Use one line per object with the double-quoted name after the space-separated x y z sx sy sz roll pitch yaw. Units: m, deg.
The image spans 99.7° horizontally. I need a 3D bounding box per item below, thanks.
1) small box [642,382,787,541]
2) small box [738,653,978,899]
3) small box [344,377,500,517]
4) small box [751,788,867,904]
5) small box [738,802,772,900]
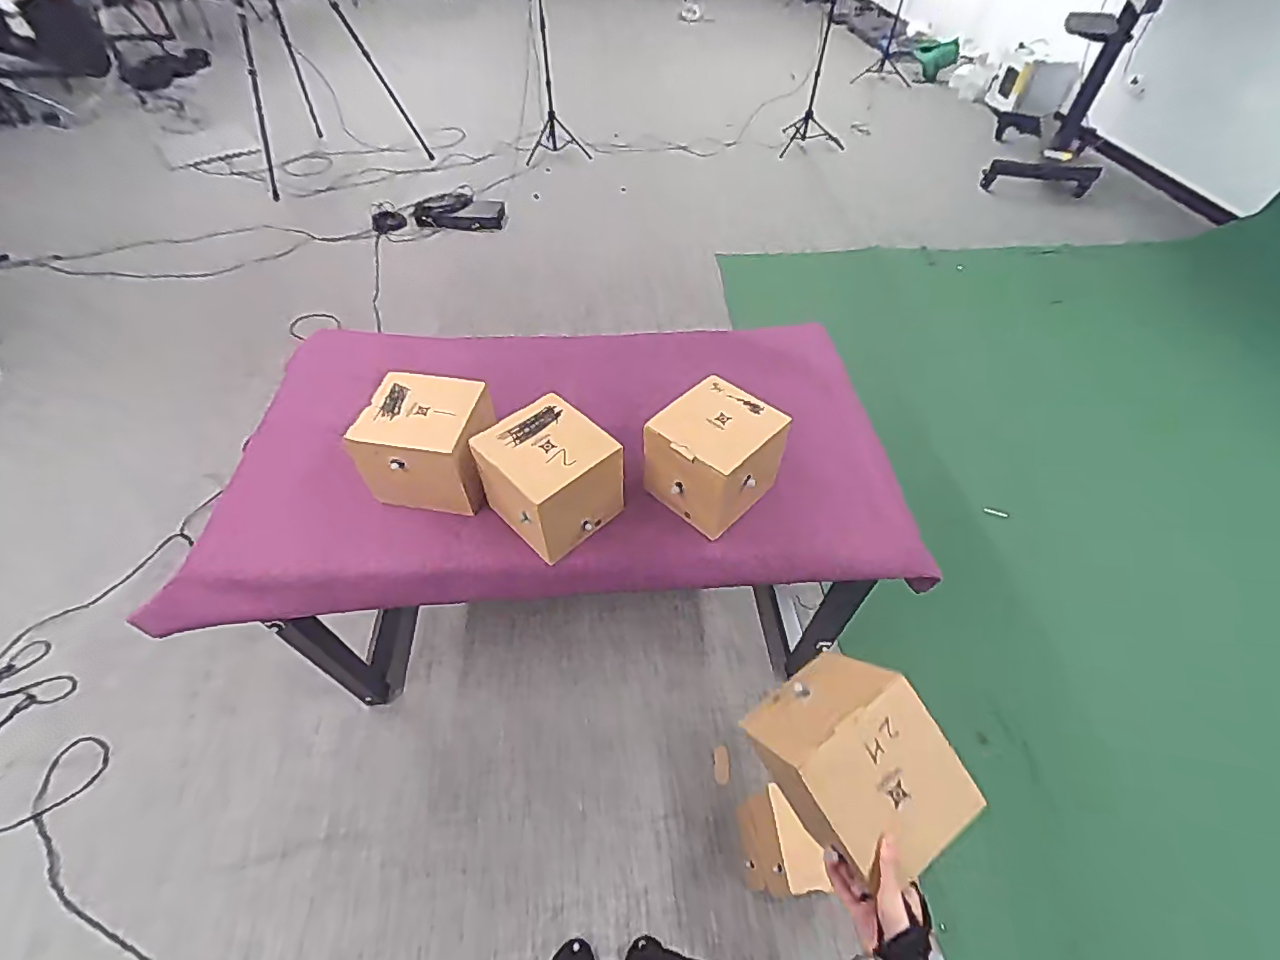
0.121 -0.029 0.922 0.168 0.176 0.179 37 59 26 "small box"
0.253 0.340 0.665 0.168 0.176 0.179 -33 89 -15 "small box"
-0.360 -0.053 0.933 0.179 0.176 0.168 8 51 4 "small box"
0.324 0.707 1.054 0.168 0.176 0.179 -4 52 -5 "small box"
0.315 0.808 1.180 0.179 0.176 0.168 -1 51 -3 "small box"
